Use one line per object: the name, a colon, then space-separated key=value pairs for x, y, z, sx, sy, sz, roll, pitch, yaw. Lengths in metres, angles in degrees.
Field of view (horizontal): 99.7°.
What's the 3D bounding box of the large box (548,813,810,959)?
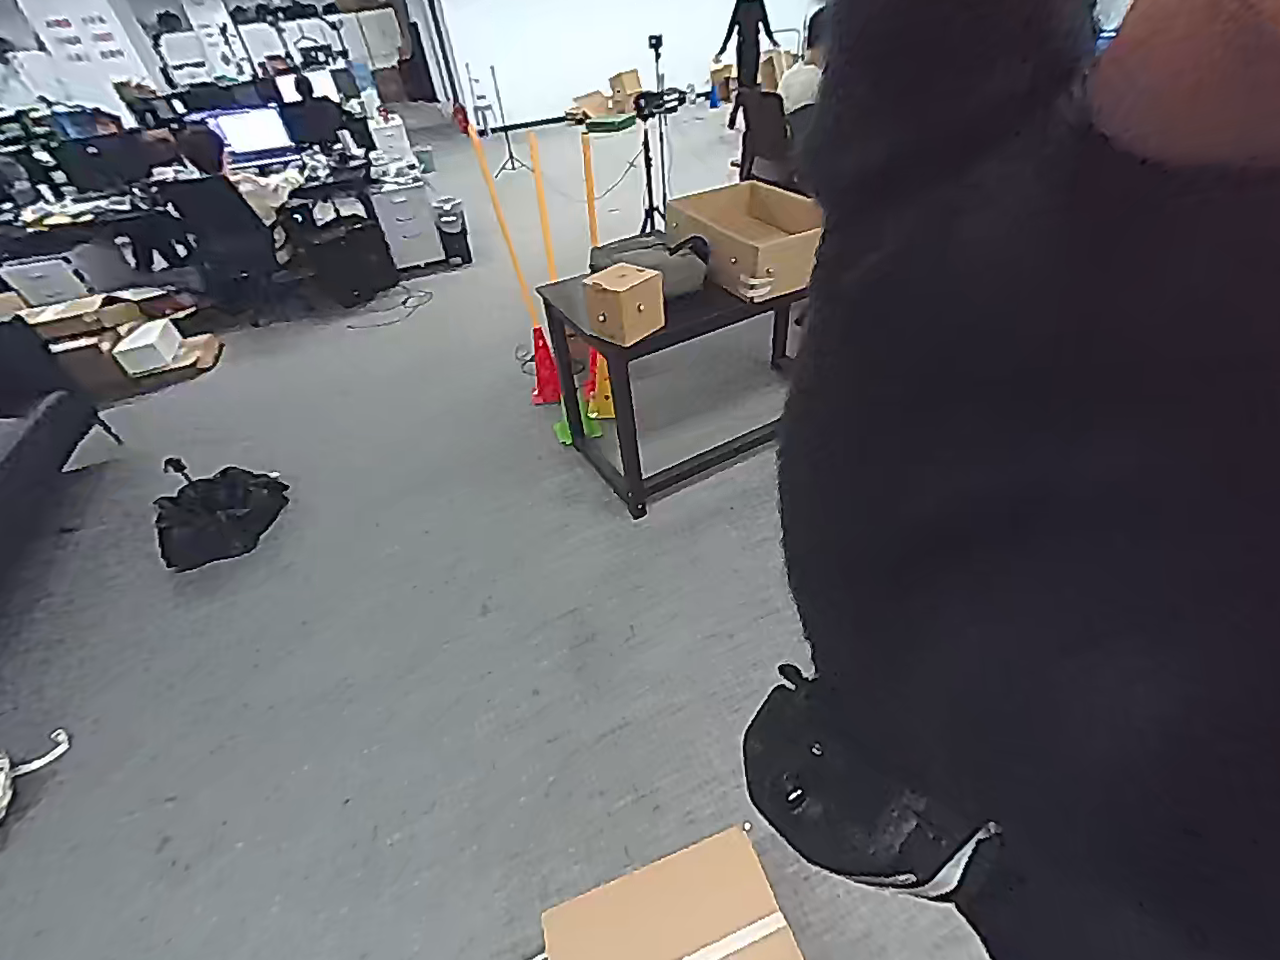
large box: x=0.081 y=0.910 z=1.005 sx=0.408 sy=0.320 sz=0.320 roll=-17 pitch=43 yaw=-10
